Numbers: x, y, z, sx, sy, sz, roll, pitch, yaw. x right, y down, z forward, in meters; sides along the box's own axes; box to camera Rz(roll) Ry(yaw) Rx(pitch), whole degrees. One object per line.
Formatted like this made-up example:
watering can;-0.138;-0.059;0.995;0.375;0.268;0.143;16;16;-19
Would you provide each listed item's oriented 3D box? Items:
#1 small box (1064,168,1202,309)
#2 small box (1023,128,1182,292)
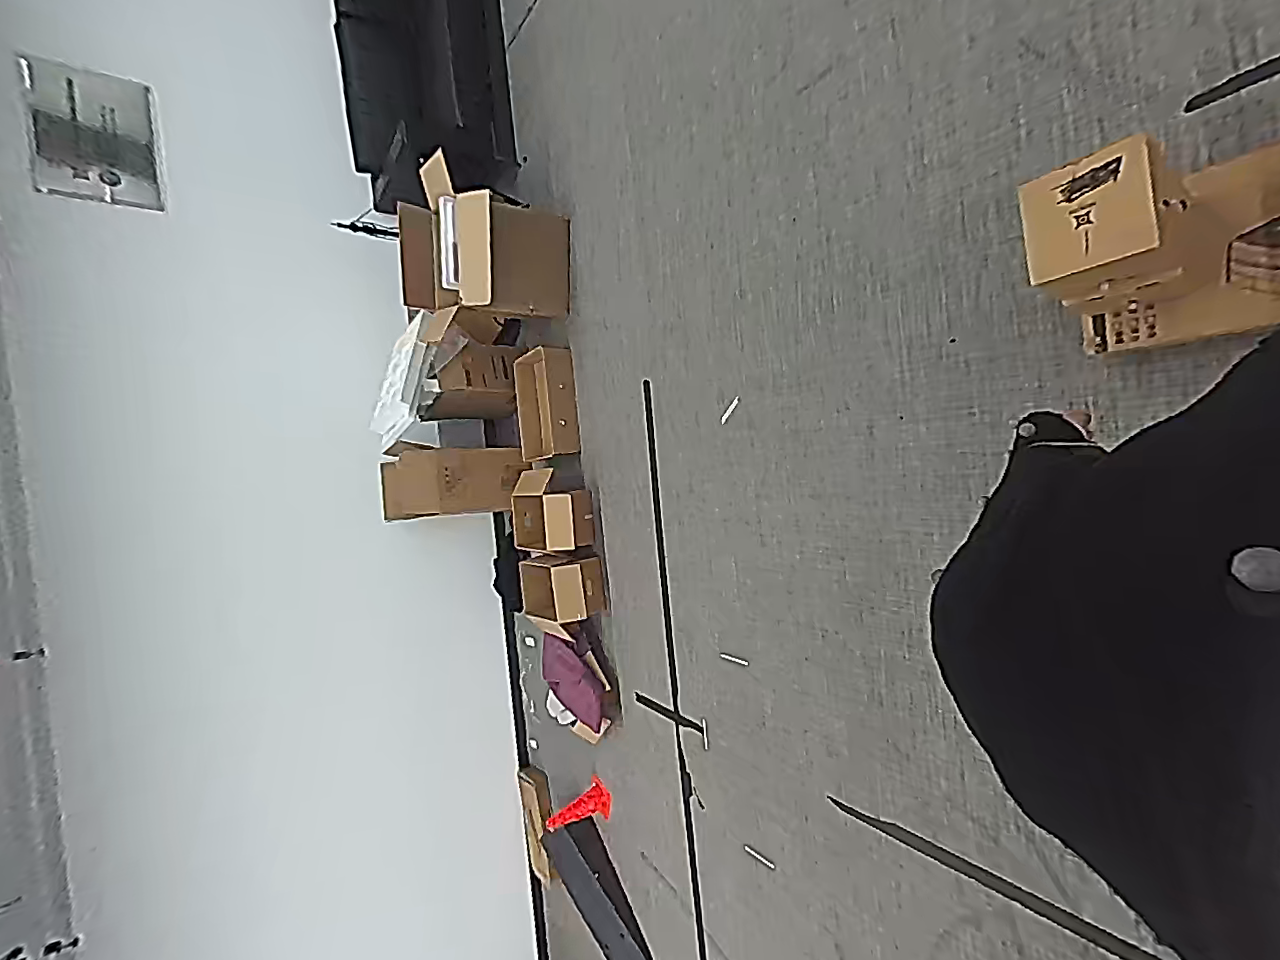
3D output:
small box;0.907;-0.432;1.000;0.168;0.176;0.179;-5;91;54
small box;0.773;-0.435;0.905;0.168;0.176;0.179;-7;89;54
